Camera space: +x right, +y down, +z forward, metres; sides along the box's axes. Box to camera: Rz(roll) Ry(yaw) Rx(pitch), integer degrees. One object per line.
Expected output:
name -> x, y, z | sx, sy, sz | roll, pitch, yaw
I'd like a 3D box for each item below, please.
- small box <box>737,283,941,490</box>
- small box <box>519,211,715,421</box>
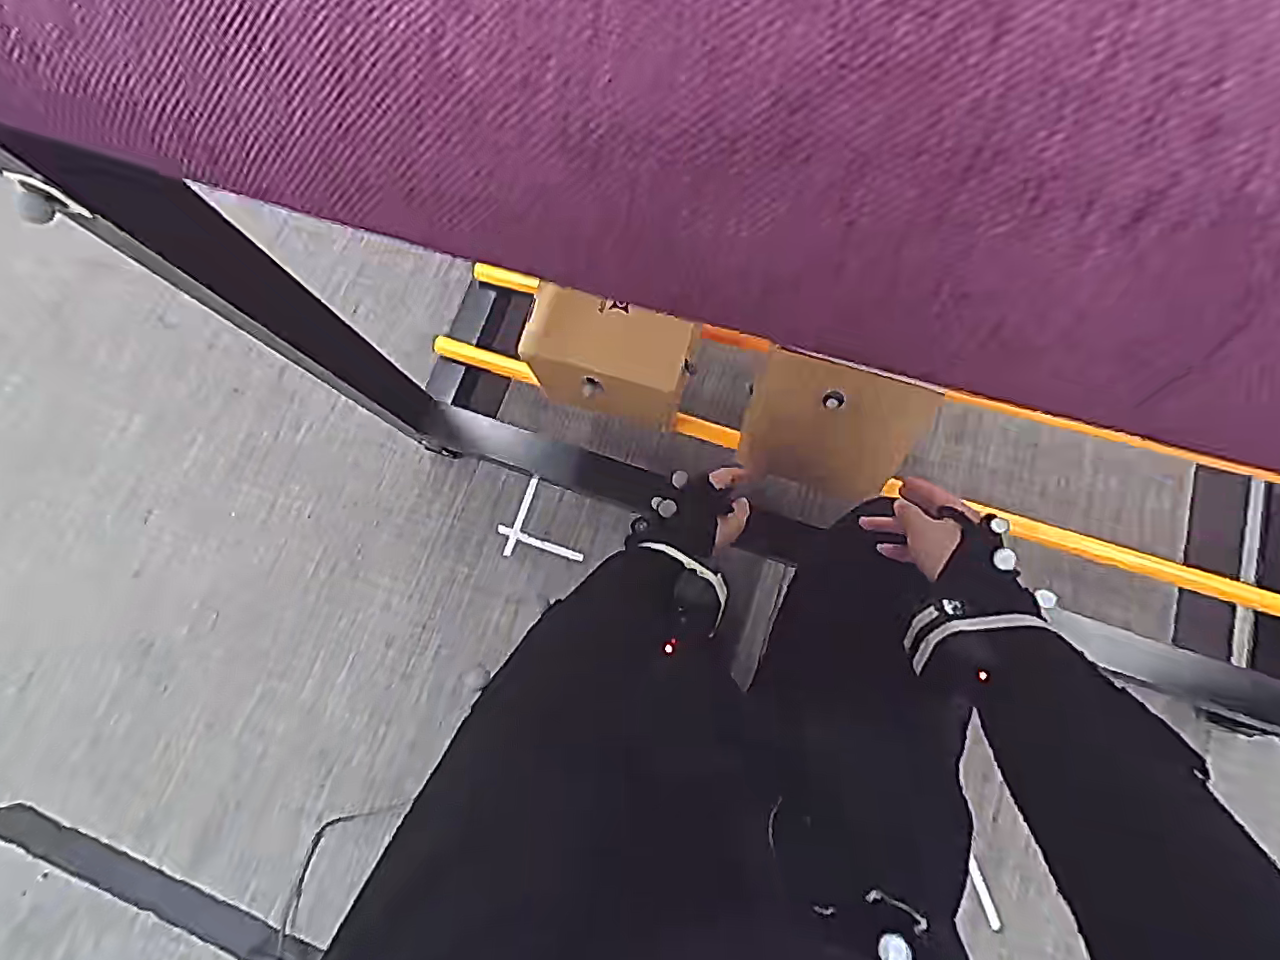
small box -> 0.230, -0.112, 0.662 | 0.179, 0.176, 0.168 | 18, 44, 5
small box -> -0.021, -0.184, 0.657 | 0.179, 0.176, 0.168 | 16, 80, 5
